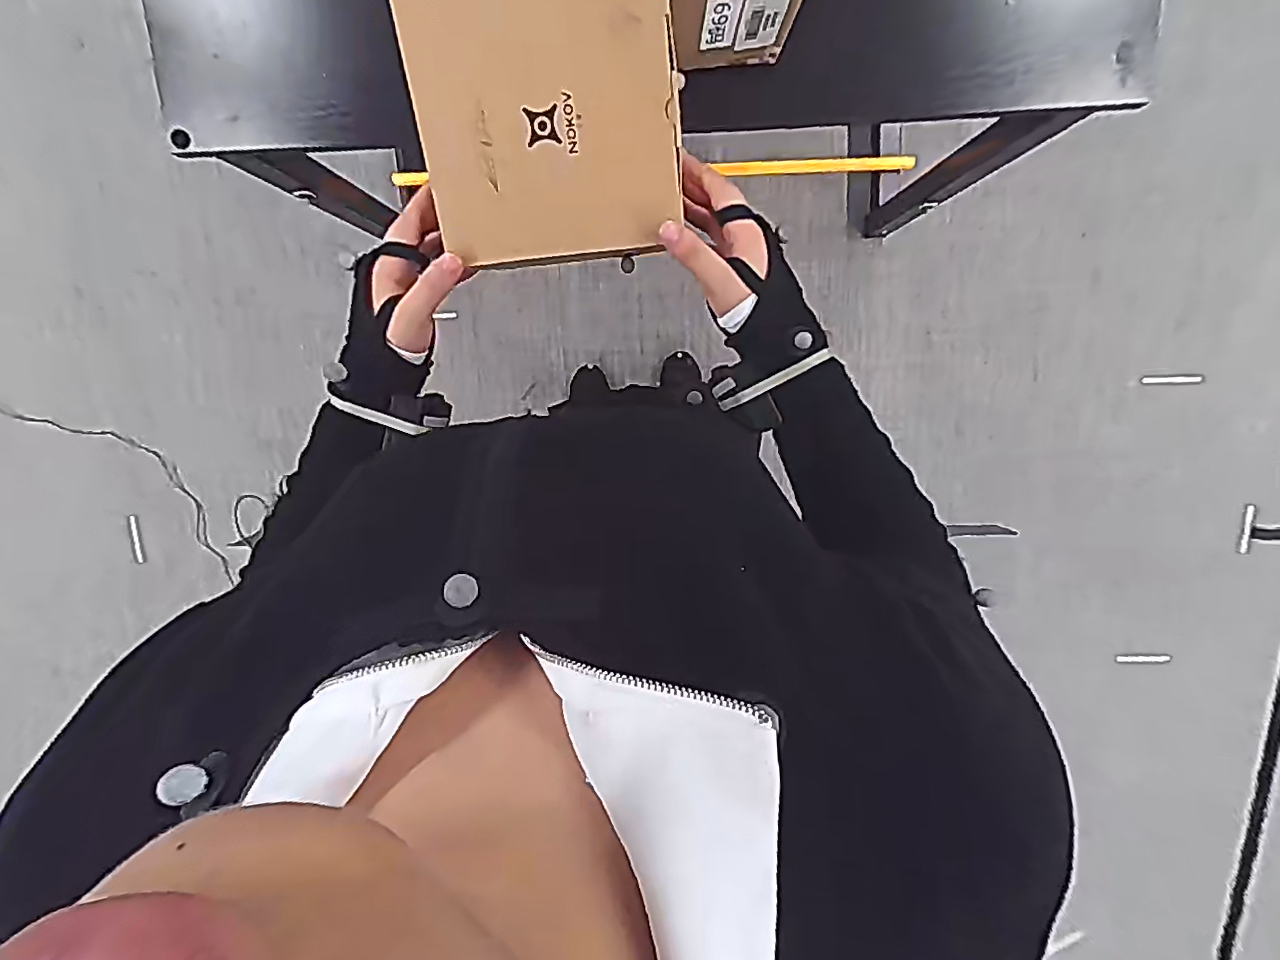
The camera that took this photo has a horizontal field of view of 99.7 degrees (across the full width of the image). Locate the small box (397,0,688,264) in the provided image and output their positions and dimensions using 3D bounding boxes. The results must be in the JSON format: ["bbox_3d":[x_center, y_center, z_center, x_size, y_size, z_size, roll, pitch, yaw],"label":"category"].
[{"bbox_3d":[-0.061,-0.274,0.441,0.179,0.176,0.168,-7,110,2],"label":"small box"}]
